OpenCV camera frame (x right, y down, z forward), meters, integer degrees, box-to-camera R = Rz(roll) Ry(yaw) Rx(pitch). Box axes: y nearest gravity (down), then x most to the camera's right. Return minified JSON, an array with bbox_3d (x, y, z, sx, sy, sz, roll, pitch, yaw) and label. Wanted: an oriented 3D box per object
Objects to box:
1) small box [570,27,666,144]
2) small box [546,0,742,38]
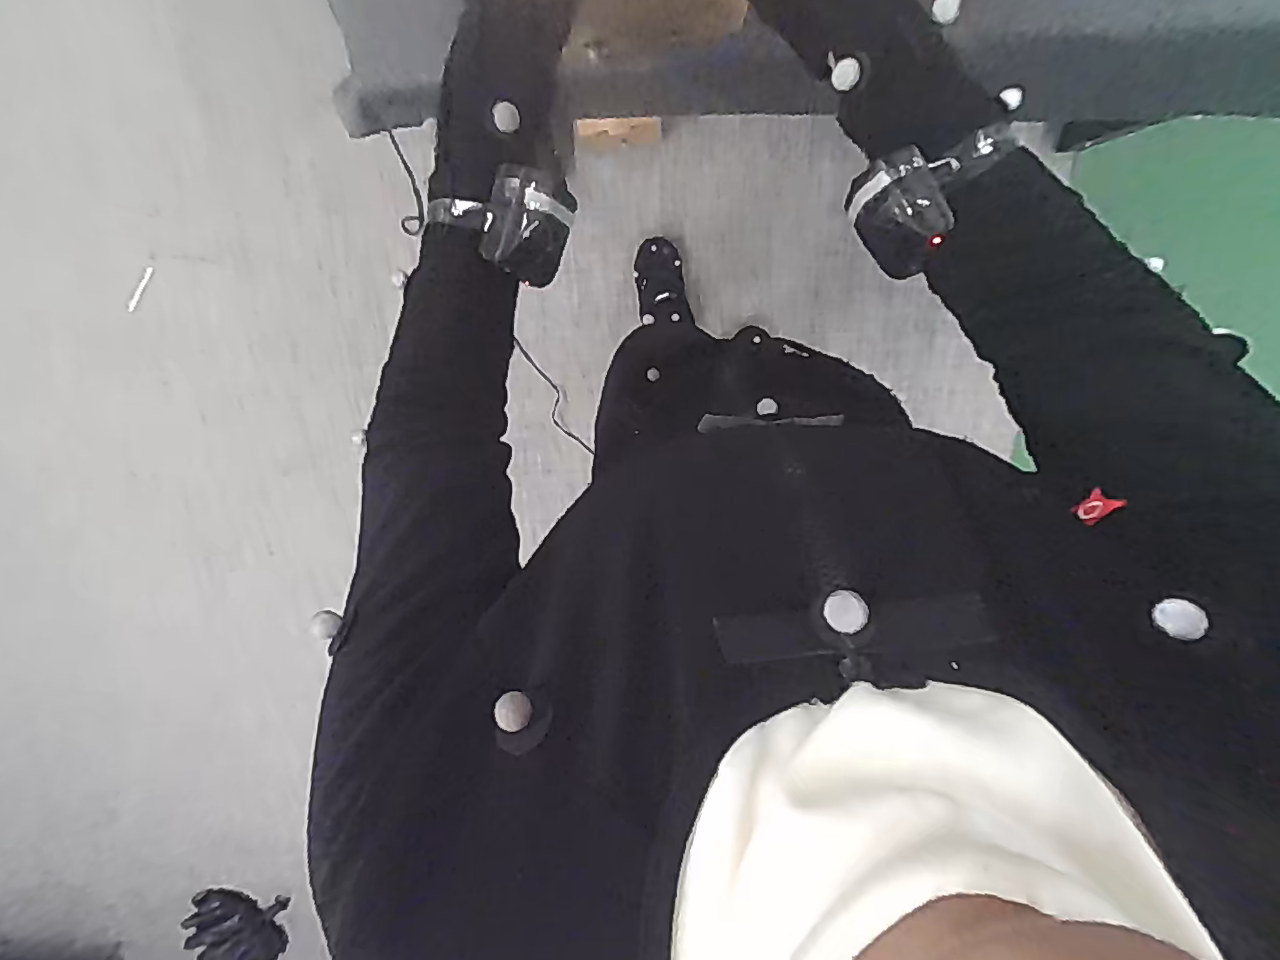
[{"bbox_3d":[-0.037,-0.806,1.104,0.168,0.176,0.179,-5,111,6],"label":"small box"},{"bbox_3d":[-0.002,-0.457,0.391,0.168,0.176,0.179,-5,111,5],"label":"small box"}]
